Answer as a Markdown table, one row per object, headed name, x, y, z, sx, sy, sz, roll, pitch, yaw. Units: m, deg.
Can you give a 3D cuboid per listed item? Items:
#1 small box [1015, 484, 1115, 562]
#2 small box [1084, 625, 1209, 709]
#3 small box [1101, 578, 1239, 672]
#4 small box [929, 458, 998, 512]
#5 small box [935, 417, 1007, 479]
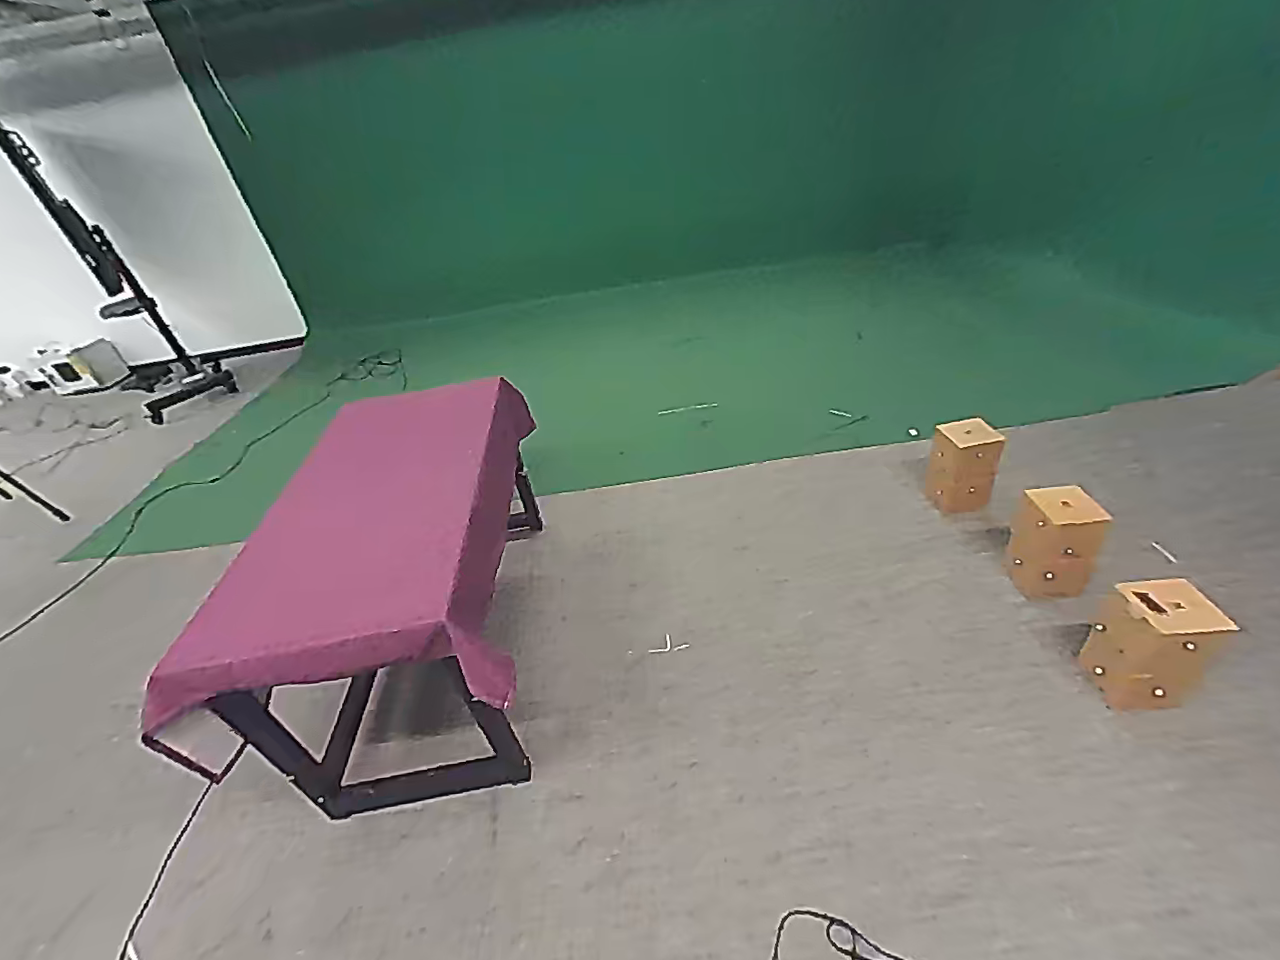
| name | x | y | z | sx | sy | sz | roll | pitch | yaw |
| --- | --- | --- | --- | --- | --- | --- | --- | --- | --- |
| small box | 1.330 | 0.136 | 1.710 | 0.168 | 0.176 | 0.179 | -6 | 36 | 5 |
| small box | 1.362 | 0.505 | 1.475 | 0.179 | 0.176 | 0.168 | -8 | 36 | 5 |
| small box | 1.332 | 0.373 | 1.381 | 0.179 | 0.176 | 0.168 | -6 | 36 | 5 |
| small box | 1.289 | 0.013 | 2.173 | 0.179 | 0.176 | 0.168 | -9 | 36 | 1 |
| small box | 1.262 | -0.119 | 2.078 | 0.179 | 0.176 | 0.168 | -10 | 37 | 0 |
